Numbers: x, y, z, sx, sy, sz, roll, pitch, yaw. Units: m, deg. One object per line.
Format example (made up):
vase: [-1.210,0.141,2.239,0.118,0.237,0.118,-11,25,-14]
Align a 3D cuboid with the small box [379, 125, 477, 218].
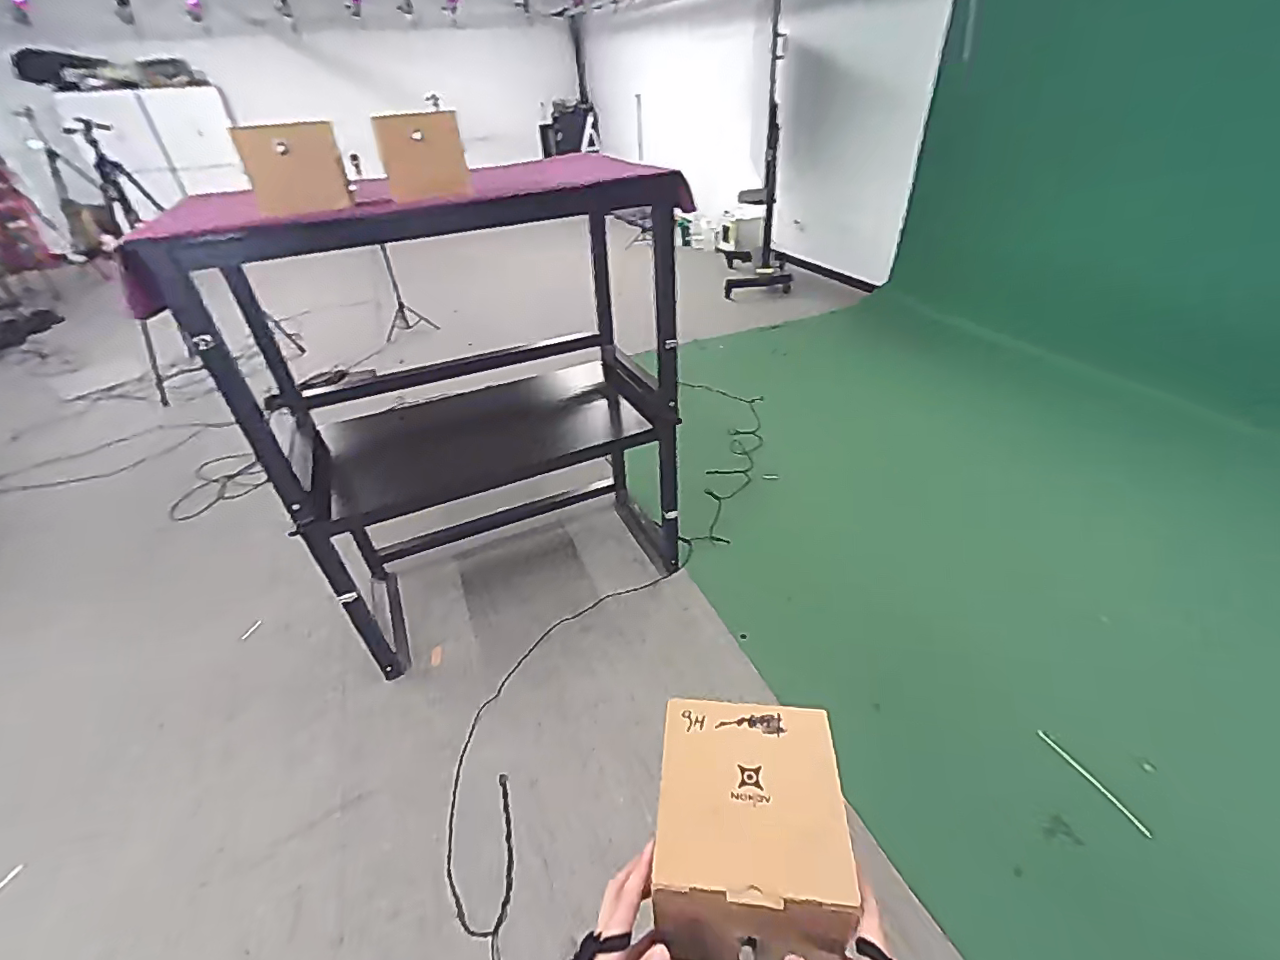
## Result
small box: [-0.492,-0.727,1.268,0.179,0.176,0.168,-18,37,-18]

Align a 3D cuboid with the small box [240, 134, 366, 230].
small box: [-0.726,-0.656,1.187,0.179,0.176,0.168,-14,36,-15]
